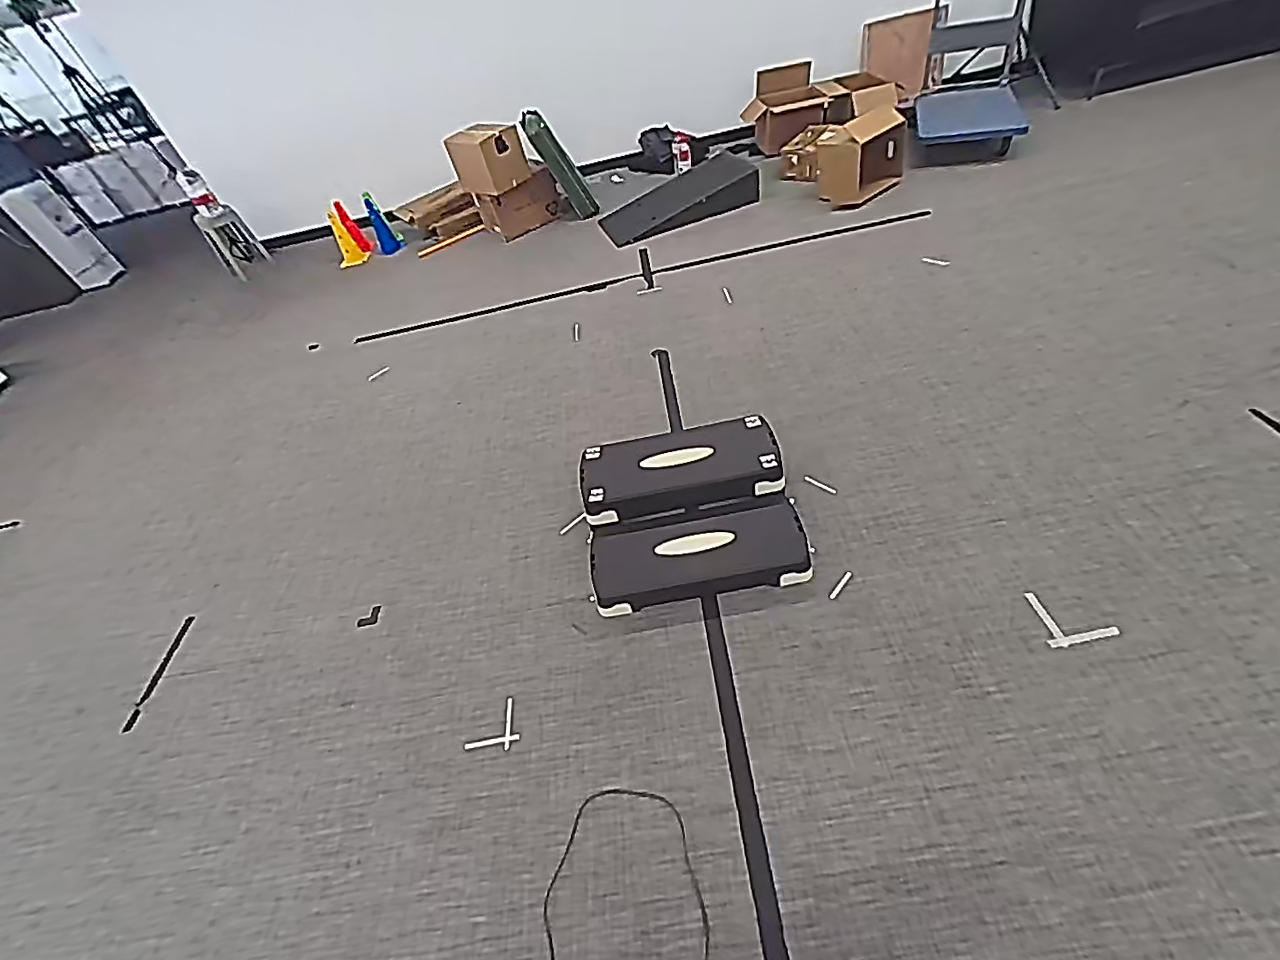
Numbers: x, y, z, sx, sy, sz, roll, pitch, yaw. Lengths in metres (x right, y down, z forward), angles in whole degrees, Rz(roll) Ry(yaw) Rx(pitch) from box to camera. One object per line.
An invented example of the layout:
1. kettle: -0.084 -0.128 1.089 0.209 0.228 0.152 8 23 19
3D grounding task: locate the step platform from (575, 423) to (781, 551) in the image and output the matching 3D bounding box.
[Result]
1. step platform: 0.122 0.018 1.843 0.684 0.204 0.286 -11 47 2
